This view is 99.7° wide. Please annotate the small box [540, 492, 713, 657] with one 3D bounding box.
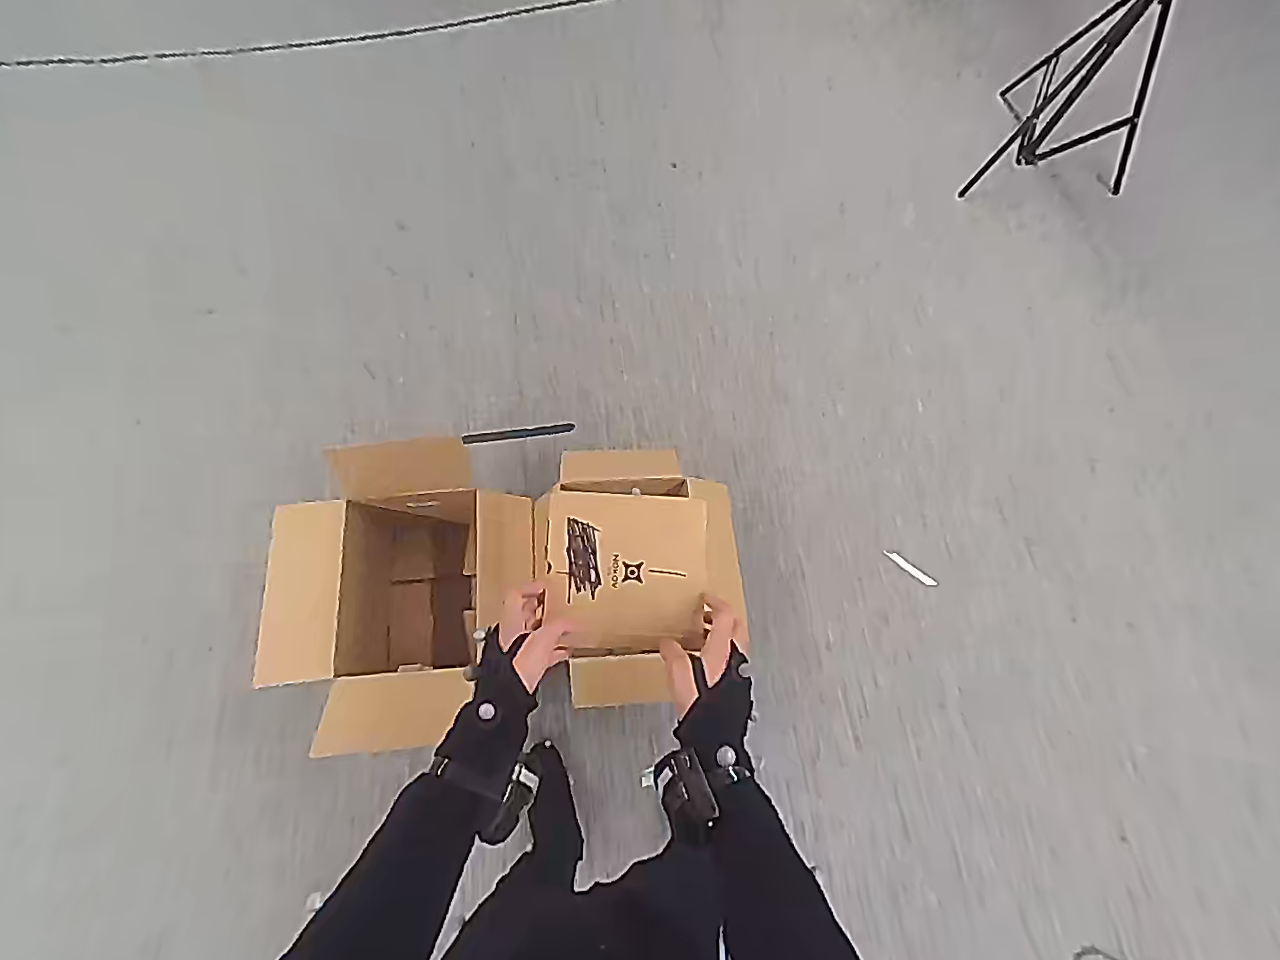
[{"bbox_3d":[-0.014,0.109,0.652,0.179,0.176,0.168,4,84,-1],"label":"small box"}]
